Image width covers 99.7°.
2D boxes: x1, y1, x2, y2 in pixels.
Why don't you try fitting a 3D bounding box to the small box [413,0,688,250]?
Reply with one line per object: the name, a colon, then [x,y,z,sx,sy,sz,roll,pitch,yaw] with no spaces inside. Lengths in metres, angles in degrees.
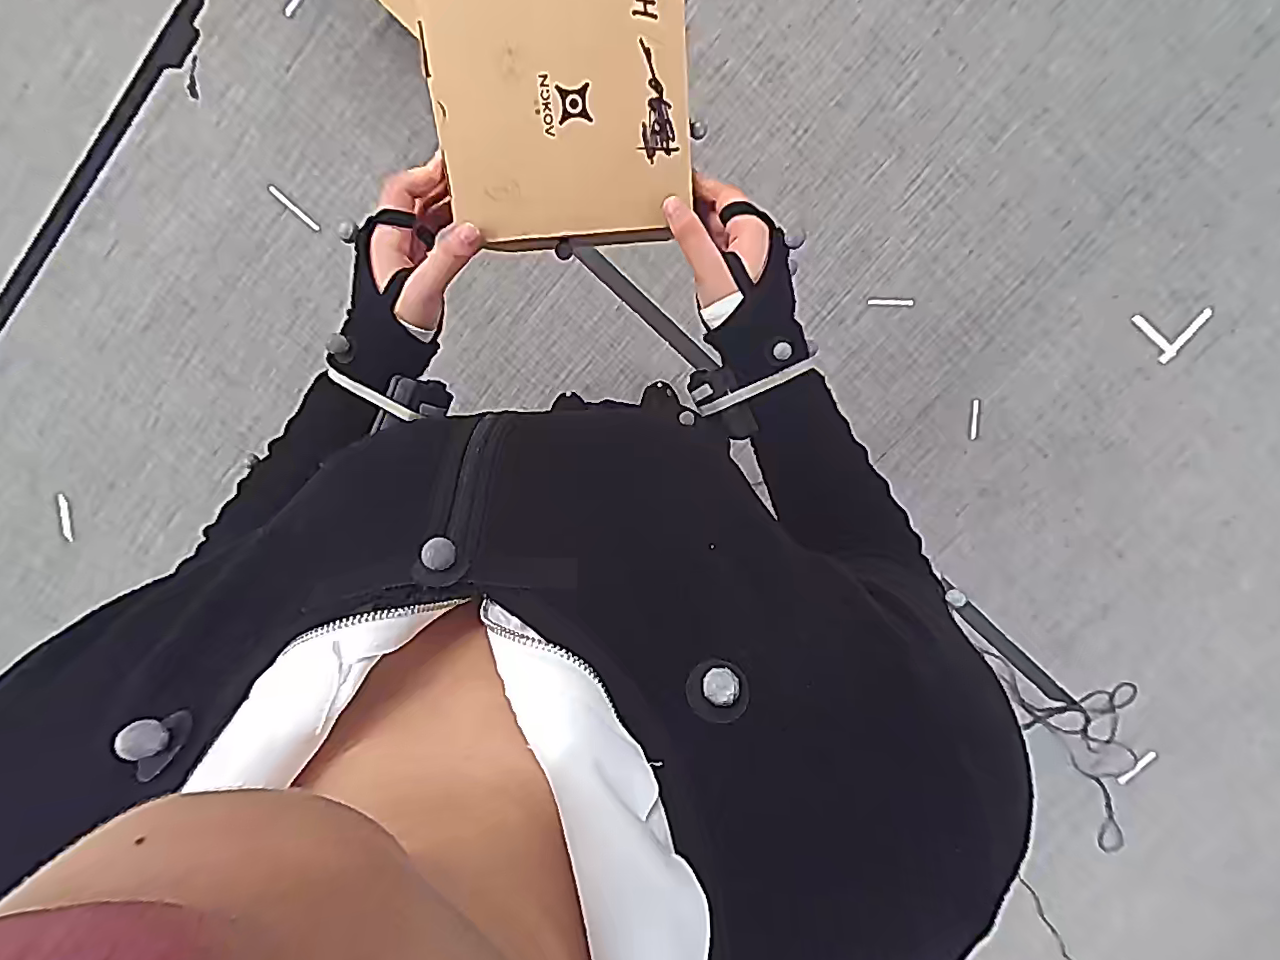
small box: [-0.057,-0.286,0.443,0.179,0.176,0.168,-5,111,0]
